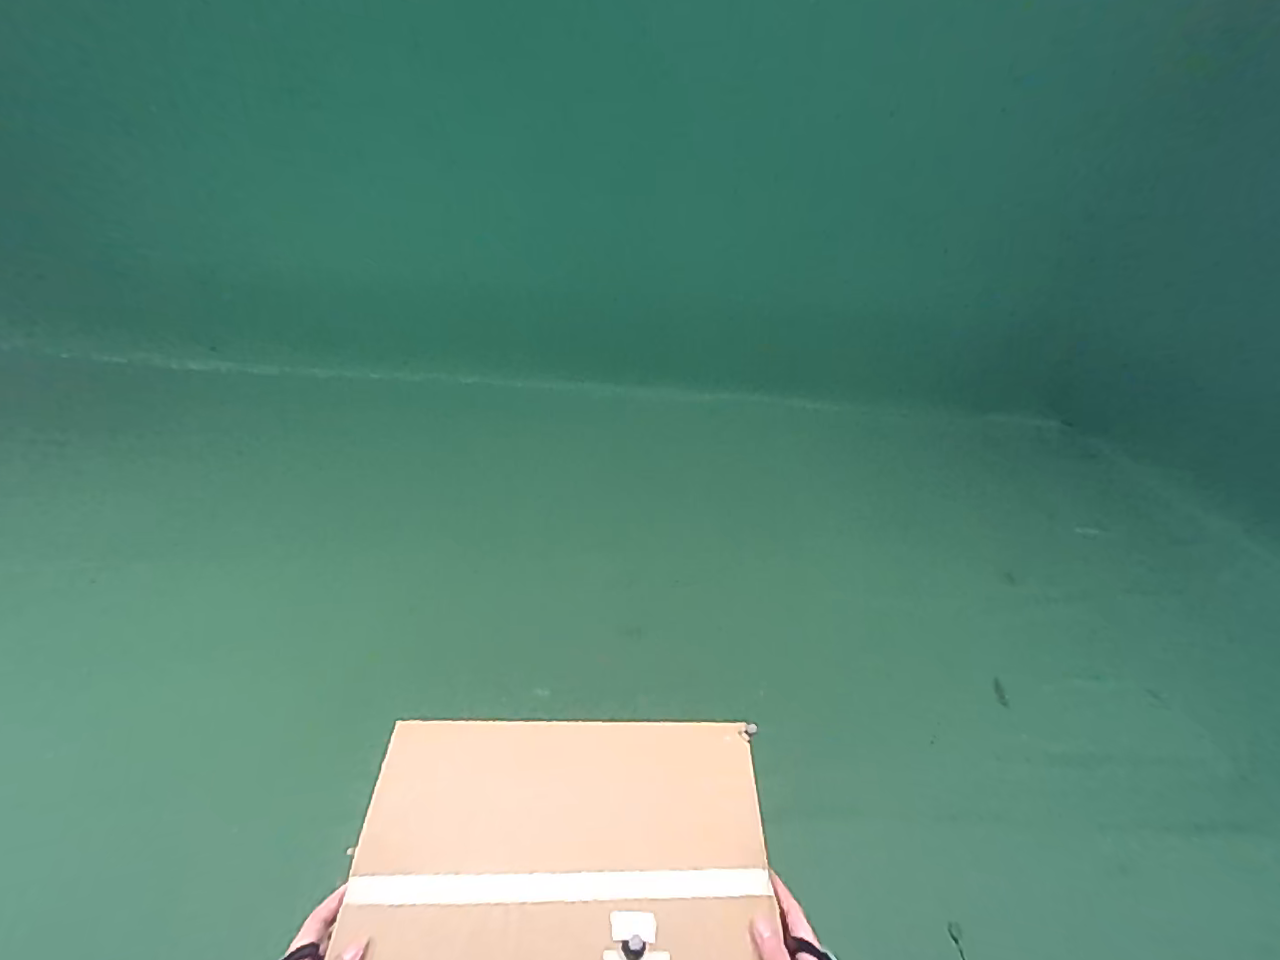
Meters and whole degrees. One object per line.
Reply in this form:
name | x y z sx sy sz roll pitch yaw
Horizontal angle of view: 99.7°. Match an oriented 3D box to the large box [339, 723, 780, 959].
large box | -0.083 0.503 0.627 0.408 0.320 0.320 2 43 -4
